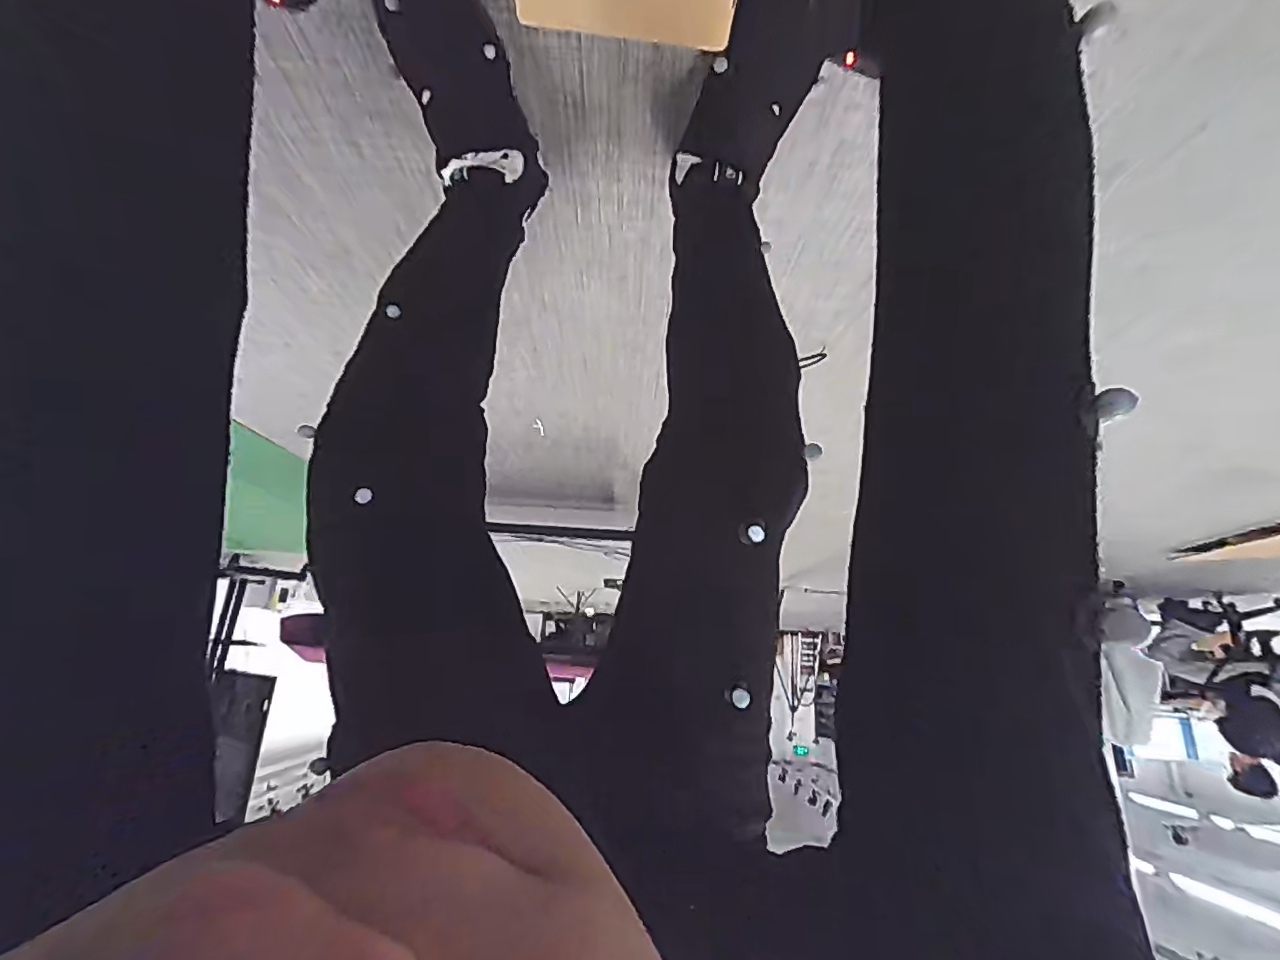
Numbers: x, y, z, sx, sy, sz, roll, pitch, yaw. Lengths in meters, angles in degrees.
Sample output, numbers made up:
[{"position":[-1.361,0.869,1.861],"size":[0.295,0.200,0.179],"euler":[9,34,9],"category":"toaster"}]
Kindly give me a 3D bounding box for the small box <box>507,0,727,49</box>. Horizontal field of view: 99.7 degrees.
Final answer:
[{"position":[-0.010,-0.469,0.396],"size":[0.179,0.176,0.168],"euler":[4,163,-3],"category":"small box"}]
